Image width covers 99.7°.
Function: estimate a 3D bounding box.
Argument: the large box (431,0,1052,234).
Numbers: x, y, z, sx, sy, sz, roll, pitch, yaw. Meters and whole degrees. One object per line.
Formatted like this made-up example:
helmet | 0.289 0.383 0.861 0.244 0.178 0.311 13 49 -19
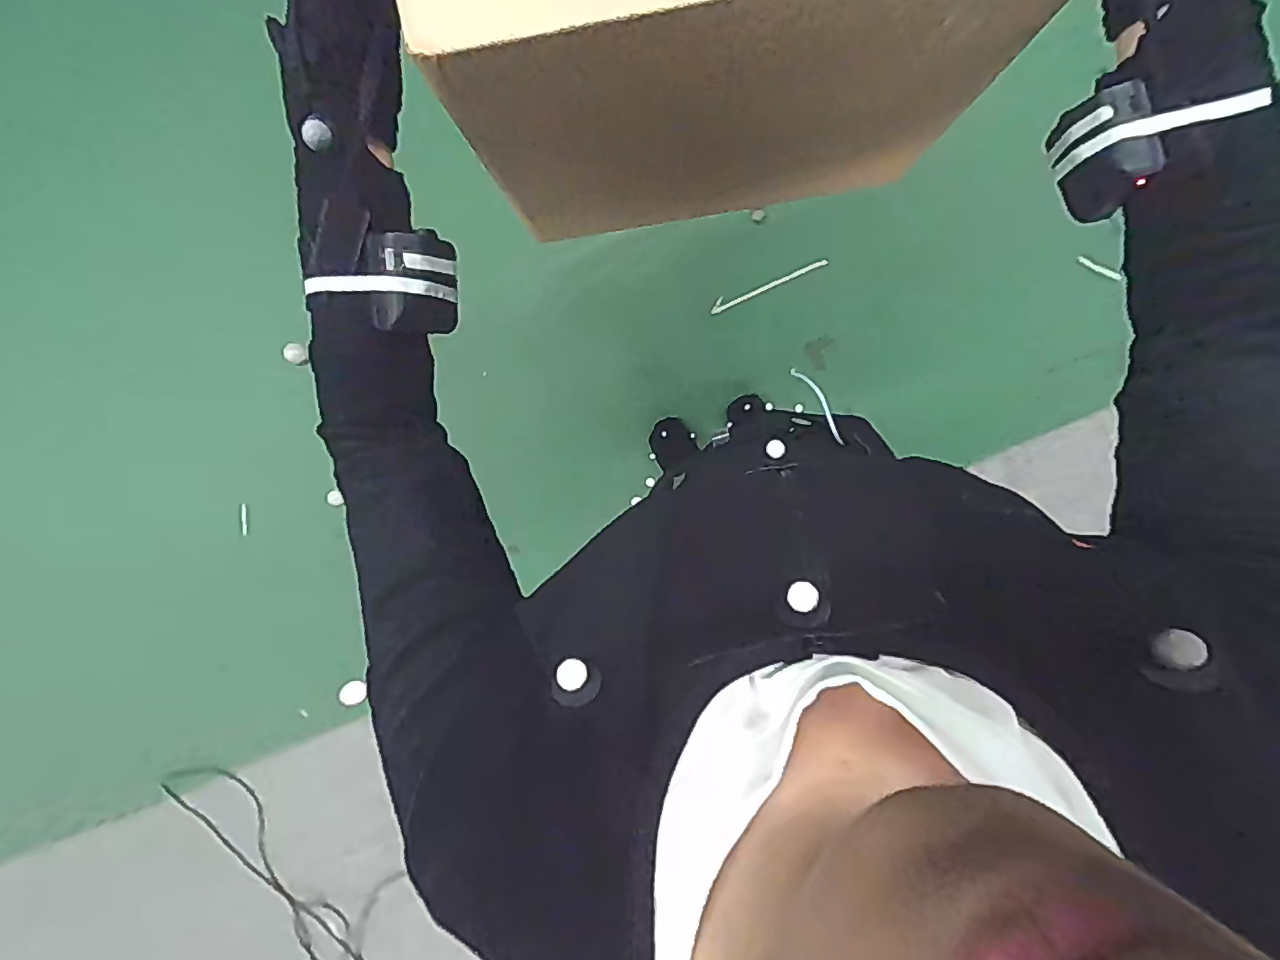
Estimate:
large box | 0.058 -0.438 0.438 0.408 0.320 0.320 -8 96 2
